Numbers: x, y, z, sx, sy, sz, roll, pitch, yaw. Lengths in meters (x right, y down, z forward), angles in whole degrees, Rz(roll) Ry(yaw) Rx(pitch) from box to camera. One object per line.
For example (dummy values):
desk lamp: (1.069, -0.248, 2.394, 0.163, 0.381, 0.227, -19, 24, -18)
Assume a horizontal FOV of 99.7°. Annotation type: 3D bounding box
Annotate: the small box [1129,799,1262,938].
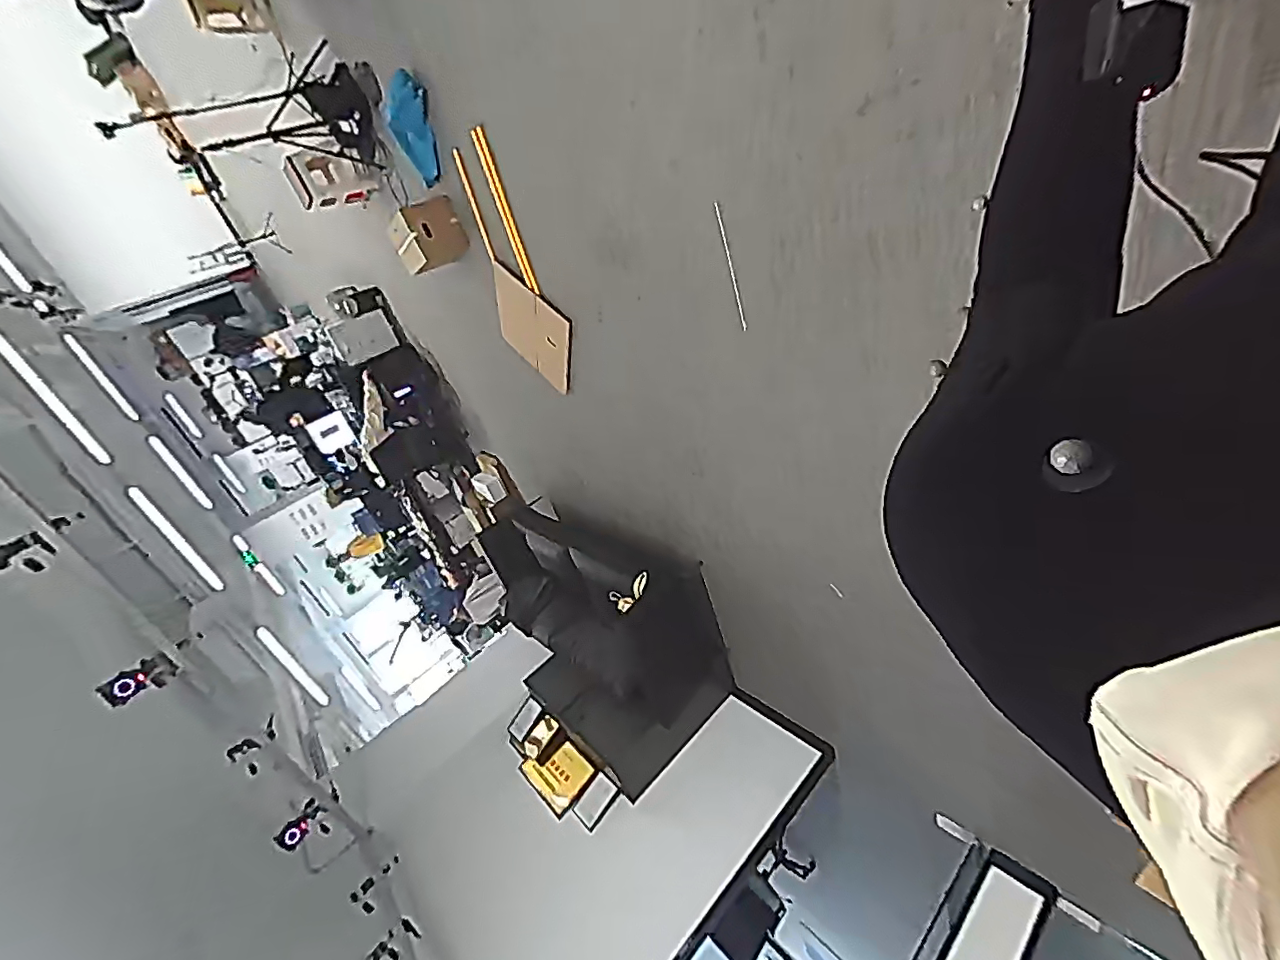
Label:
small box: (1.275, 0.884, 1.243, 0.168, 0.176, 0.179, 25, 142, 44)
